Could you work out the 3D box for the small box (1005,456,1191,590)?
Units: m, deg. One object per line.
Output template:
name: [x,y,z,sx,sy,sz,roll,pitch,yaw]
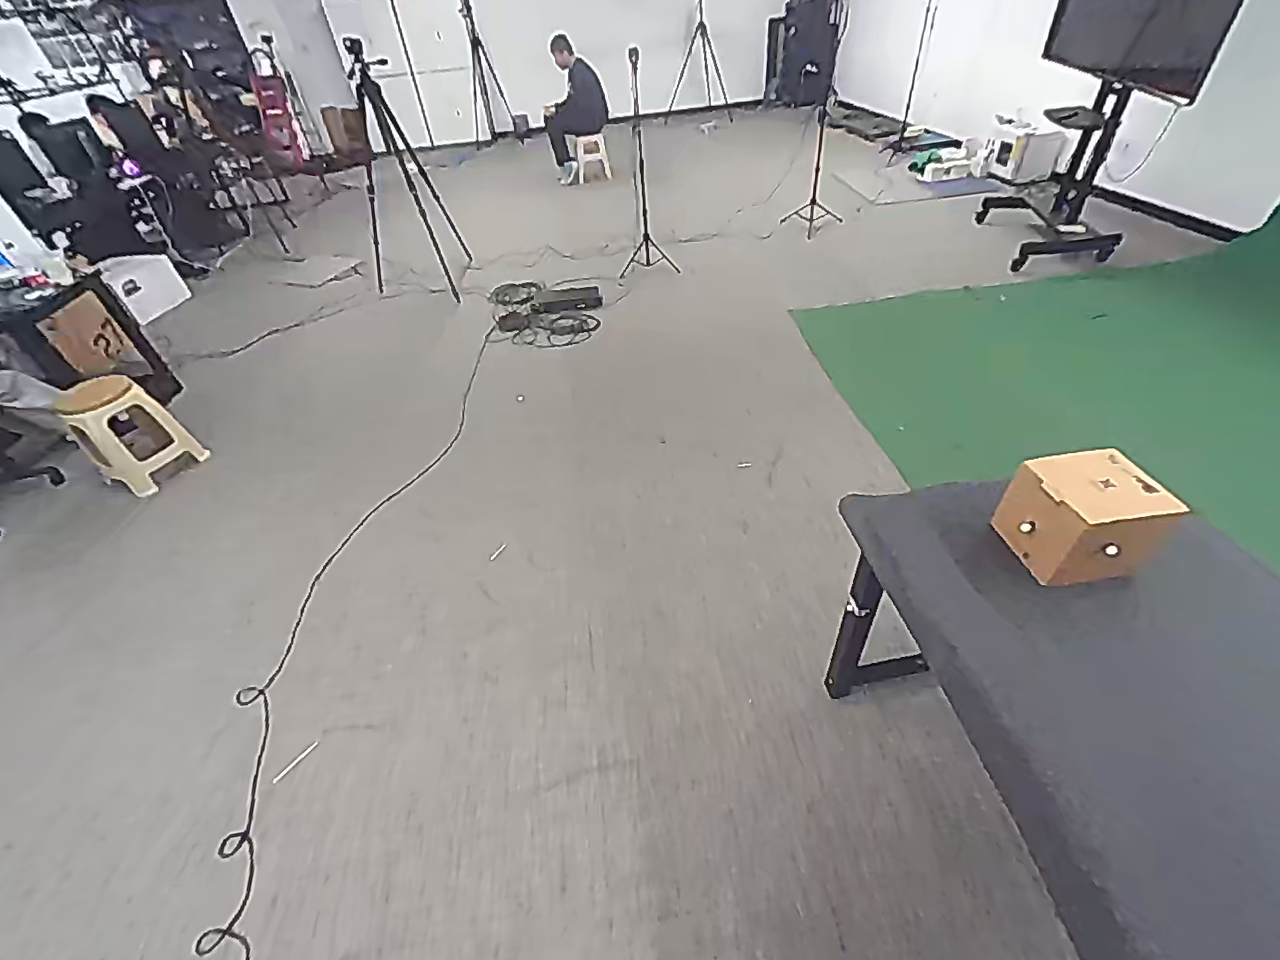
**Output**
small box: [0.798,0.081,0.973,0.179,0.176,0.168,-8,42,-1]
